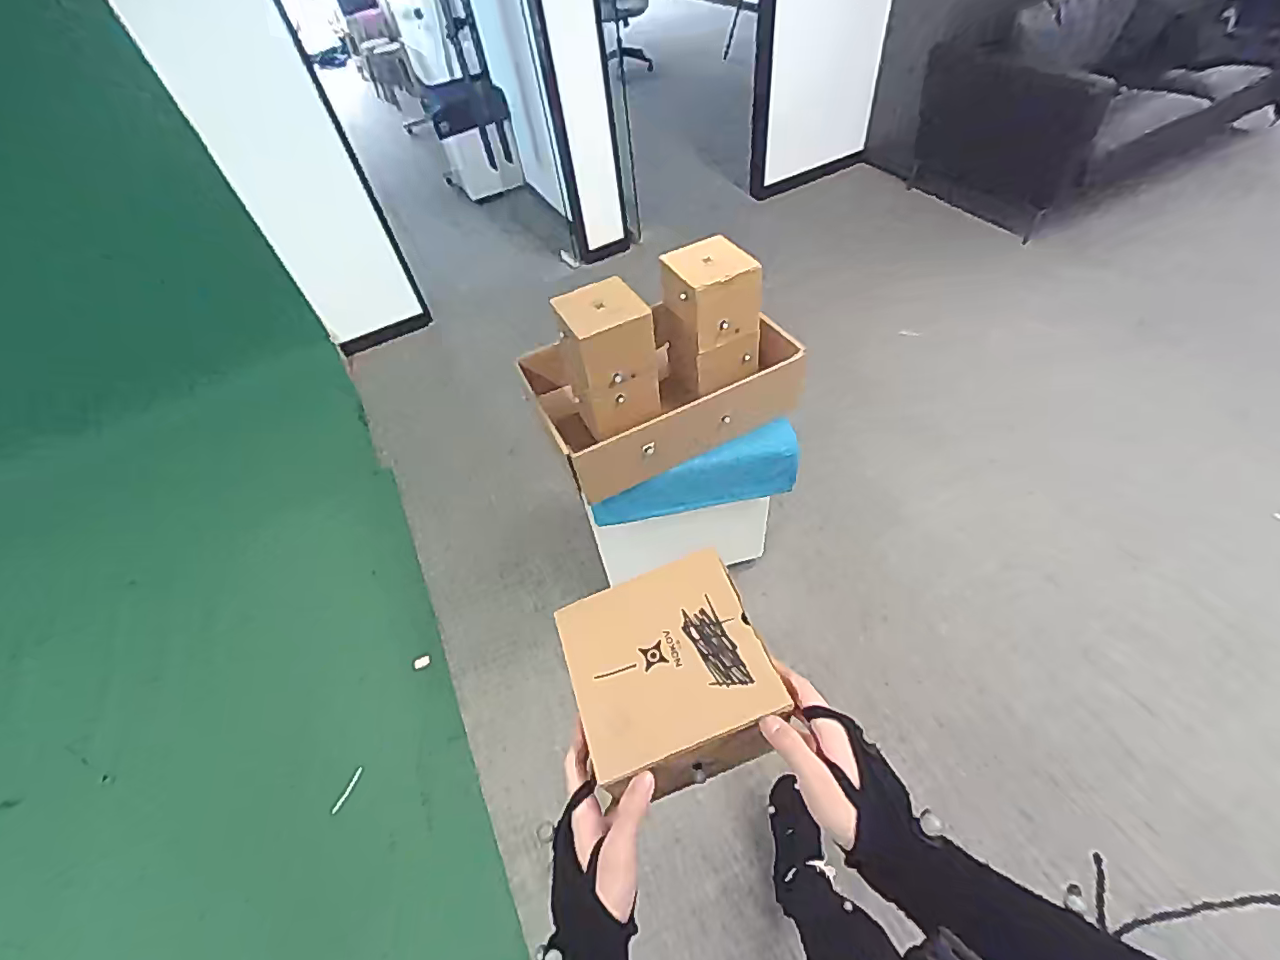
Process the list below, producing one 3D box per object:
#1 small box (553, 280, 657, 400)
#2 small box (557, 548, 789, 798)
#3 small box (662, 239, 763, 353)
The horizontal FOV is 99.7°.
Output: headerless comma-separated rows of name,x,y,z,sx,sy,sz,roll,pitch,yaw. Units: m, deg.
small box,-0.073,-0.307,1.192,0.168,0.176,0.179,-24,51,-12
small box,0.035,0.202,0.557,0.179,0.176,0.168,-21,51,-3
small box,0.165,-0.424,1.253,0.168,0.176,0.179,-24,51,-11
